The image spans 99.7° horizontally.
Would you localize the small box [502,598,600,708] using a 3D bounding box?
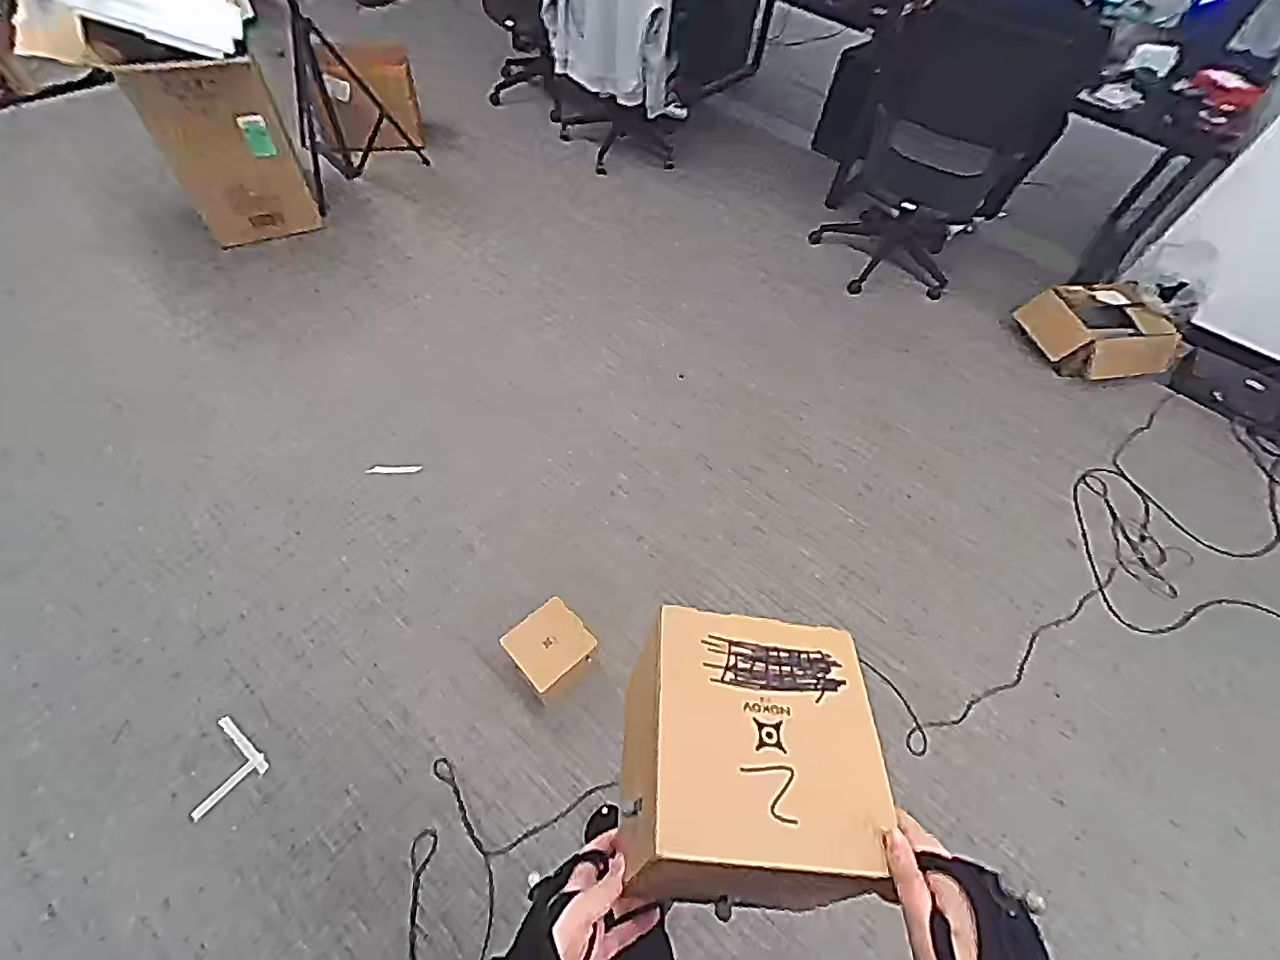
[{"bbox_3d":[-0.214,0.434,1.339,0.179,0.176,0.168,-37,66,-25],"label":"small box"}]
